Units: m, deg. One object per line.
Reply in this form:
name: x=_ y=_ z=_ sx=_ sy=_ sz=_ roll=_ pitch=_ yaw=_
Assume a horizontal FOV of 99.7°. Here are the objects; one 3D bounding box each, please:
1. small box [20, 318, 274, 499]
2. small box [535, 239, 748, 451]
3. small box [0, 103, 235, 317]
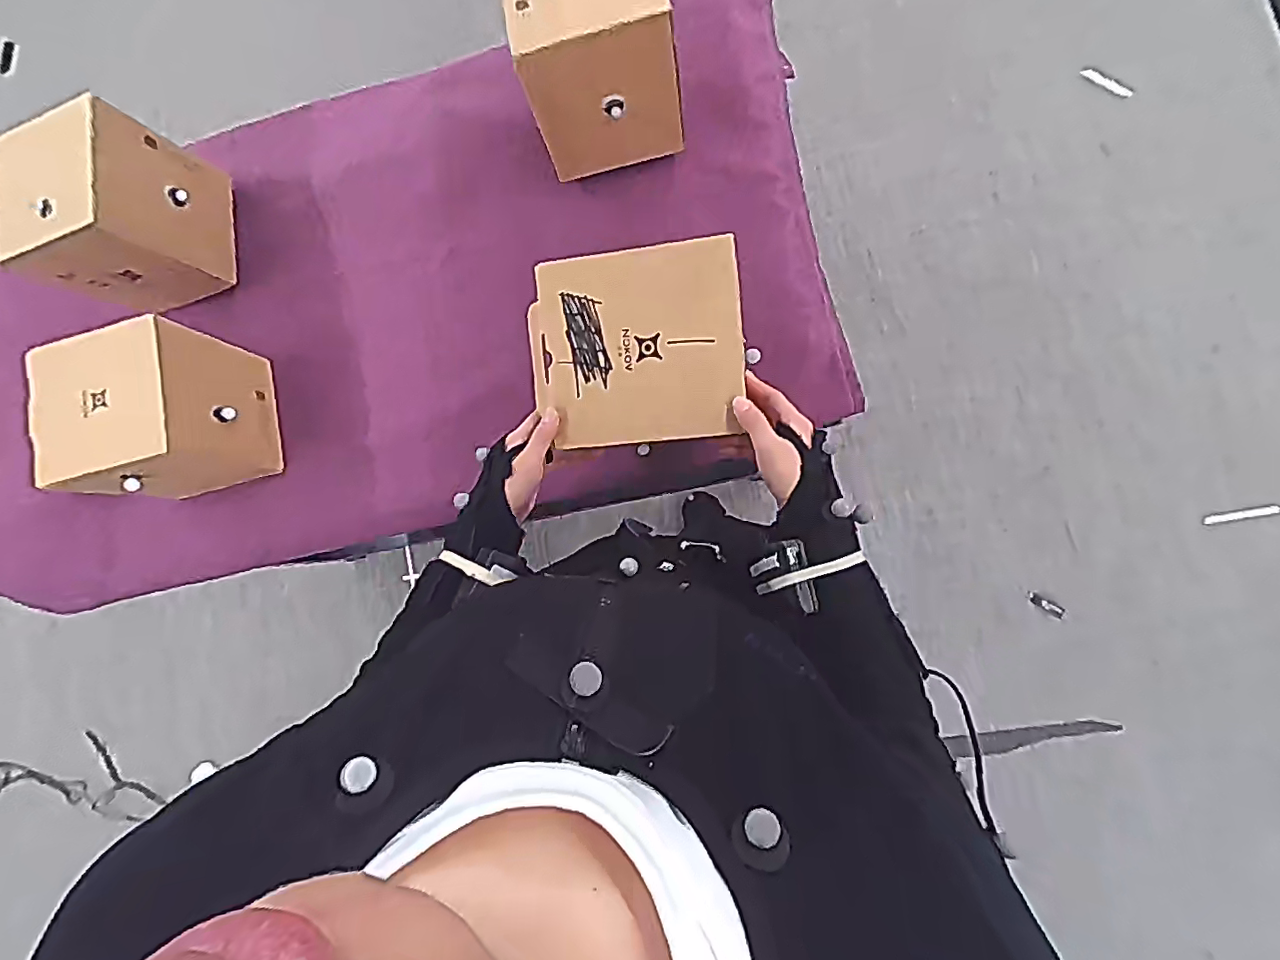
small box: x=-0.597 y=-0.076 z=0.678 sx=0.179 sy=0.176 sz=0.168 roll=-14 pitch=82 yaw=6
small box: x=0.014 y=-0.118 z=0.539 sx=0.179 sy=0.176 sz=0.168 roll=-4 pitch=96 yaw=11
small box: x=-0.675 y=-0.339 z=0.702 sx=0.179 sy=0.168 sz=0.176 roll=-10 pitch=82 yaw=14
